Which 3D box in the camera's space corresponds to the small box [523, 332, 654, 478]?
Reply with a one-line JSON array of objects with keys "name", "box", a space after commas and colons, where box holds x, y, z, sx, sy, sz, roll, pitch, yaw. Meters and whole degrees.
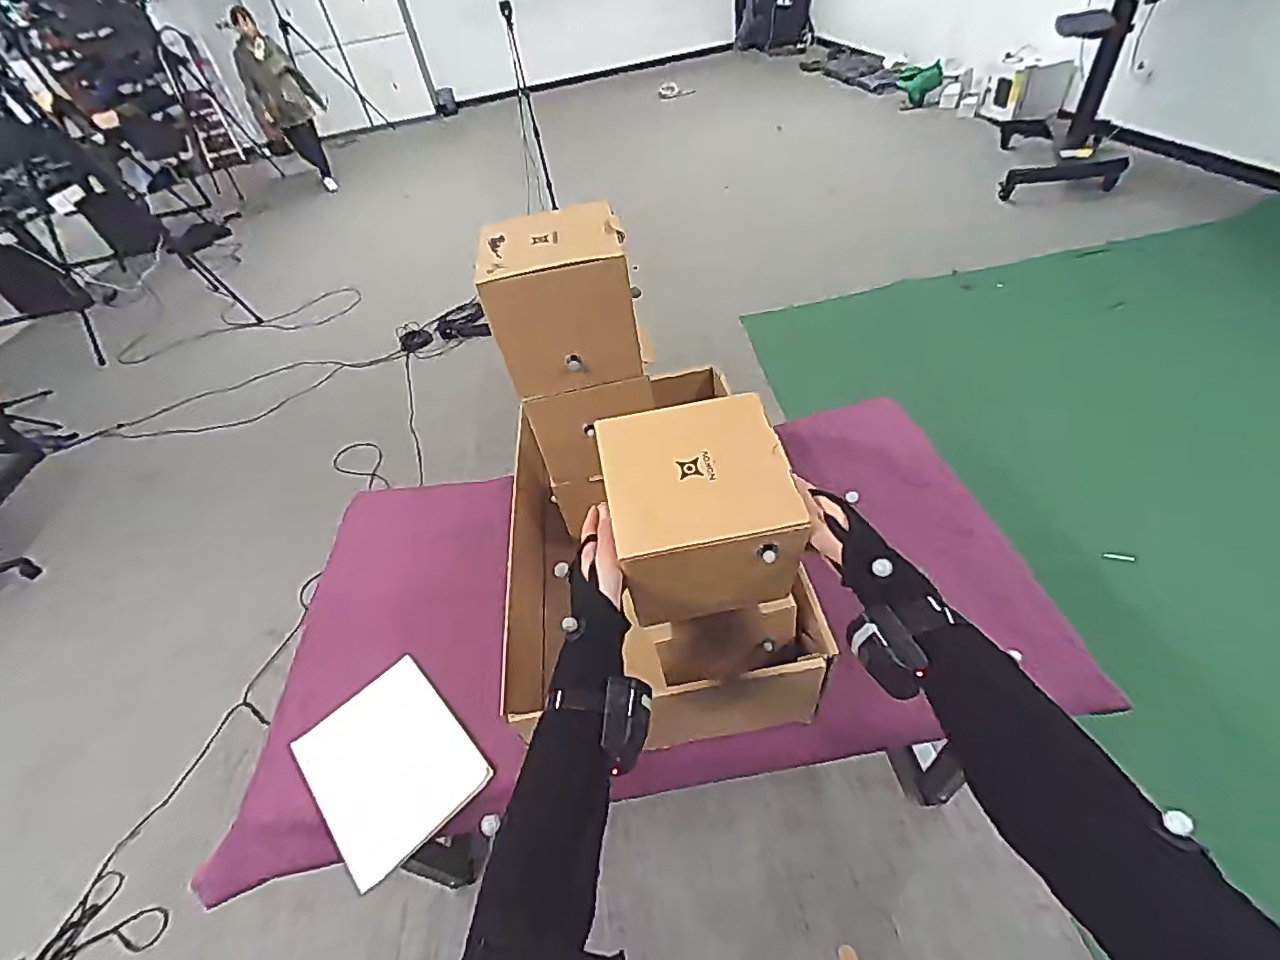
[{"name": "small box", "box": [-0.073, -0.127, 0.831, 0.179, 0.176, 0.168, -13, 46, -1]}]

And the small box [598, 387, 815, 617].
[{"name": "small box", "box": [0.060, 0.029, 0.571, 0.179, 0.176, 0.168, -10, 55, -4]}]

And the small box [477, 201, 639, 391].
[{"name": "small box", "box": [-0.098, -0.241, 0.715, 0.179, 0.176, 0.168, -10, 46, 0]}]
